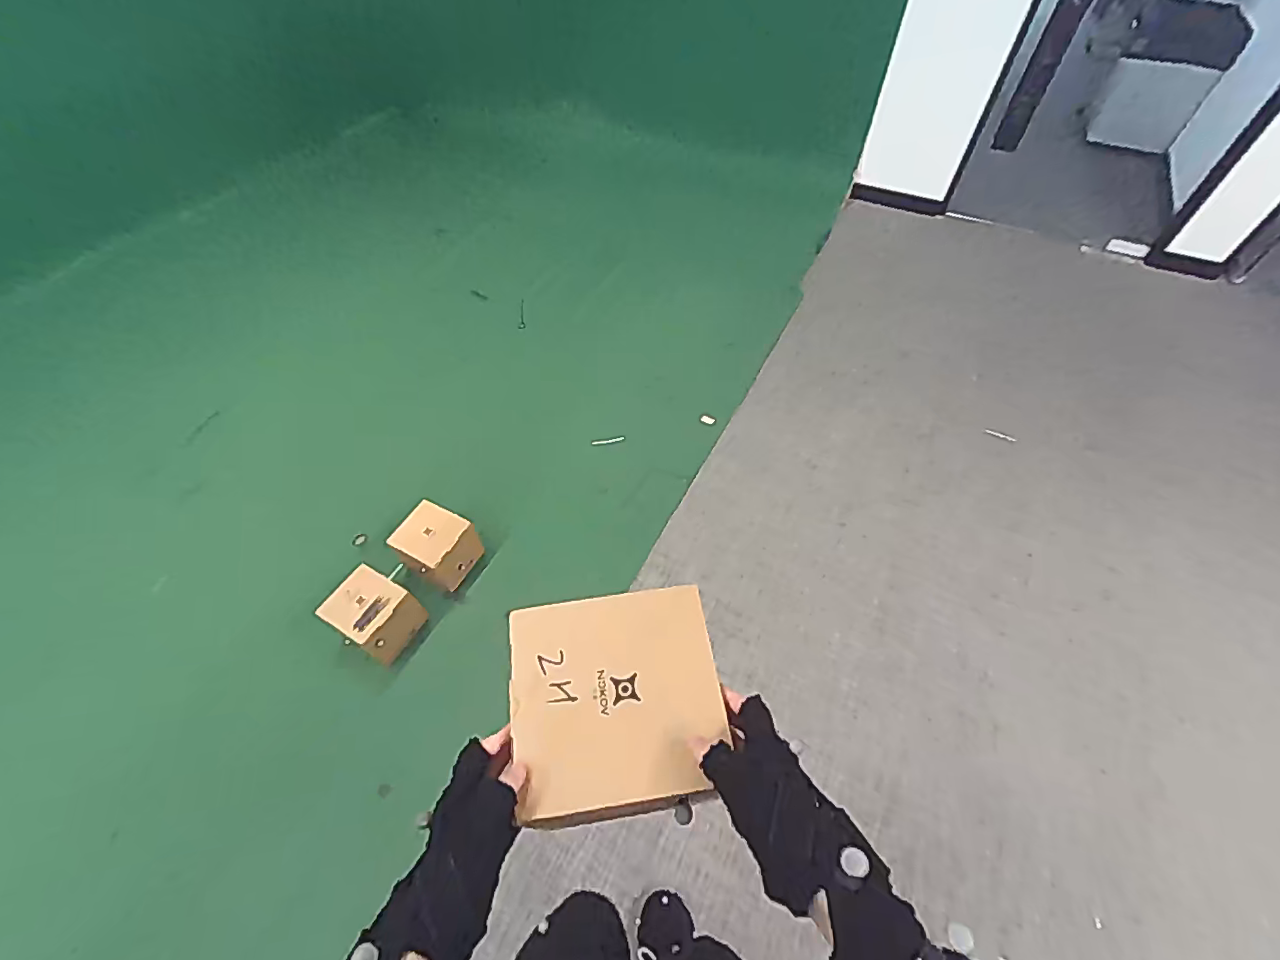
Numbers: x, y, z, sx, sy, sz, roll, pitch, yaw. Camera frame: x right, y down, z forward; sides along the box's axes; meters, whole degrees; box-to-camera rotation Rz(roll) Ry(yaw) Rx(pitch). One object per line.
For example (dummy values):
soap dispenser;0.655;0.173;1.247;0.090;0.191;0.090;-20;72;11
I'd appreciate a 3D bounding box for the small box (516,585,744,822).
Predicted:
small box;-0.016;0.217;0.515;0.179;0.176;0.168;-7;55;-4

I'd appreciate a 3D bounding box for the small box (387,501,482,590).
small box;-0.593;0.196;1.585;0.179;0.176;0.168;23;57;15
